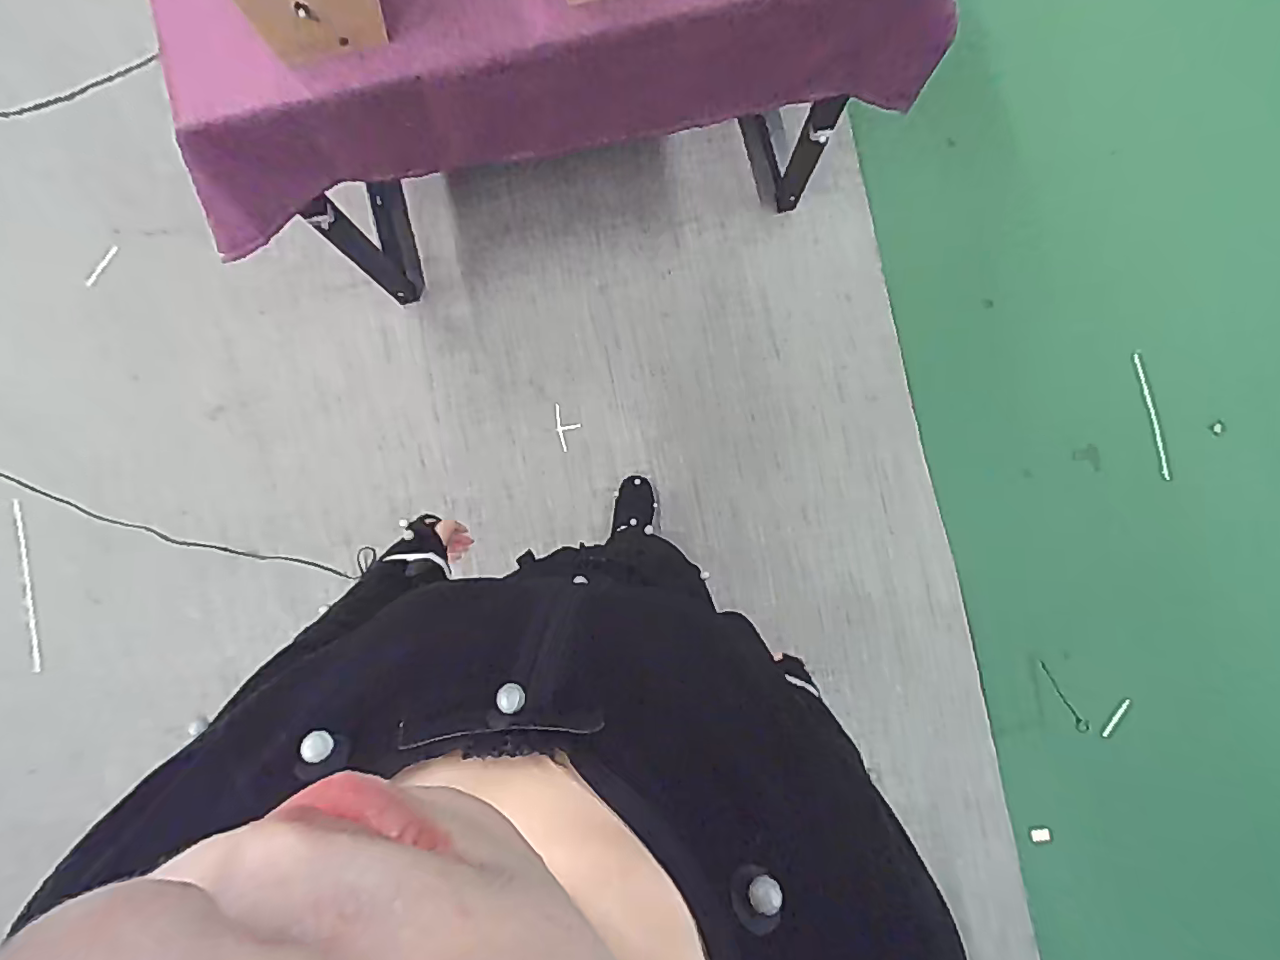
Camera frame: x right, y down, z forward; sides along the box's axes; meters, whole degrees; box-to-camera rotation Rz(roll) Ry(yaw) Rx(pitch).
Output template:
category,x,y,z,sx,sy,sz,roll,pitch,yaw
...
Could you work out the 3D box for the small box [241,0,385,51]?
category,x,y,z,sx,sy,sz,roll,pitch,yaw
small box,-0.480,-0.743,0.750,0.168,0.176,0.179,-13,86,-2
